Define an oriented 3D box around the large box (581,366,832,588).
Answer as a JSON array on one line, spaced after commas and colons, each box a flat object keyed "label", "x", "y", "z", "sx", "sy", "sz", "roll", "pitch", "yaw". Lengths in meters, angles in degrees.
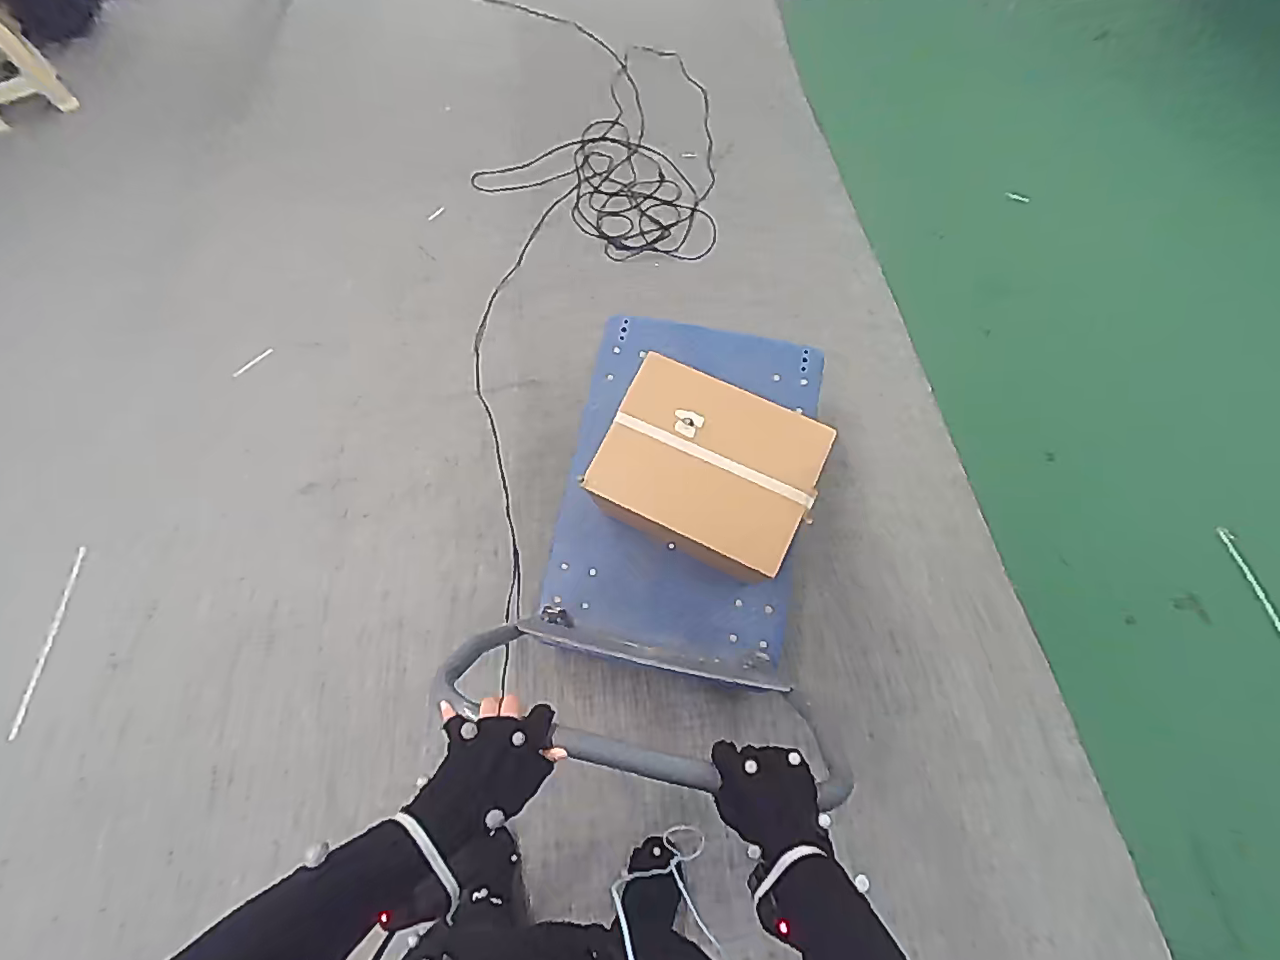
[{"label": "large box", "x": 0.140, "y": 0.014, "z": 1.182, "sx": 0.408, "sy": 0.320, "sz": 0.320, "roll": 25, "pitch": 79, "yaw": 10}]
